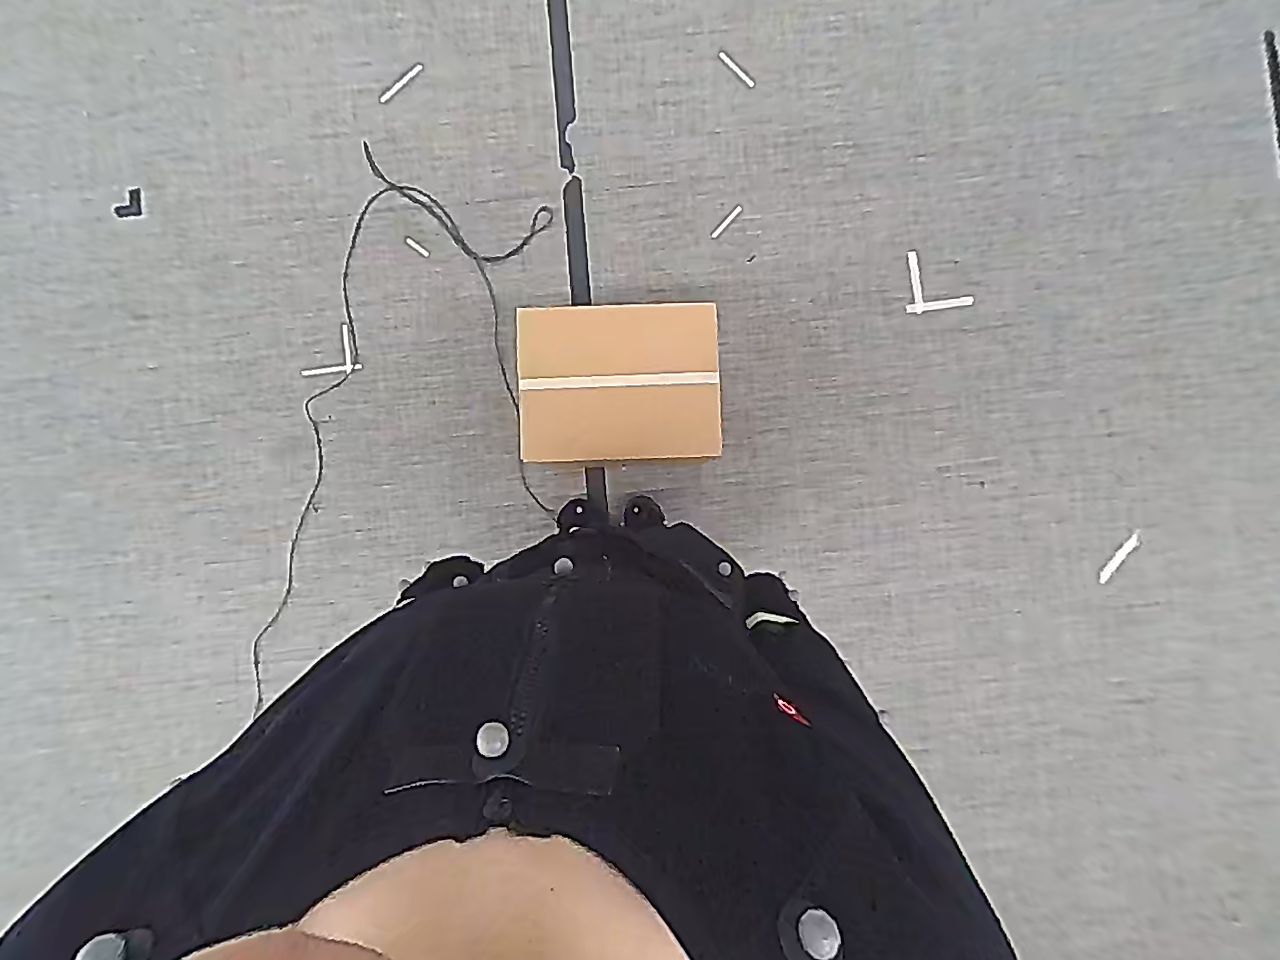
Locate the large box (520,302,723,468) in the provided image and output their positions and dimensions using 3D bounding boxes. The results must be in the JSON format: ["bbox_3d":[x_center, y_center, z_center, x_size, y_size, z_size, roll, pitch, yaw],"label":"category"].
[{"bbox_3d":[-0.040,-0.196,1.239,0.408,0.320,0.320,-2,90,-1],"label":"large box"}]
